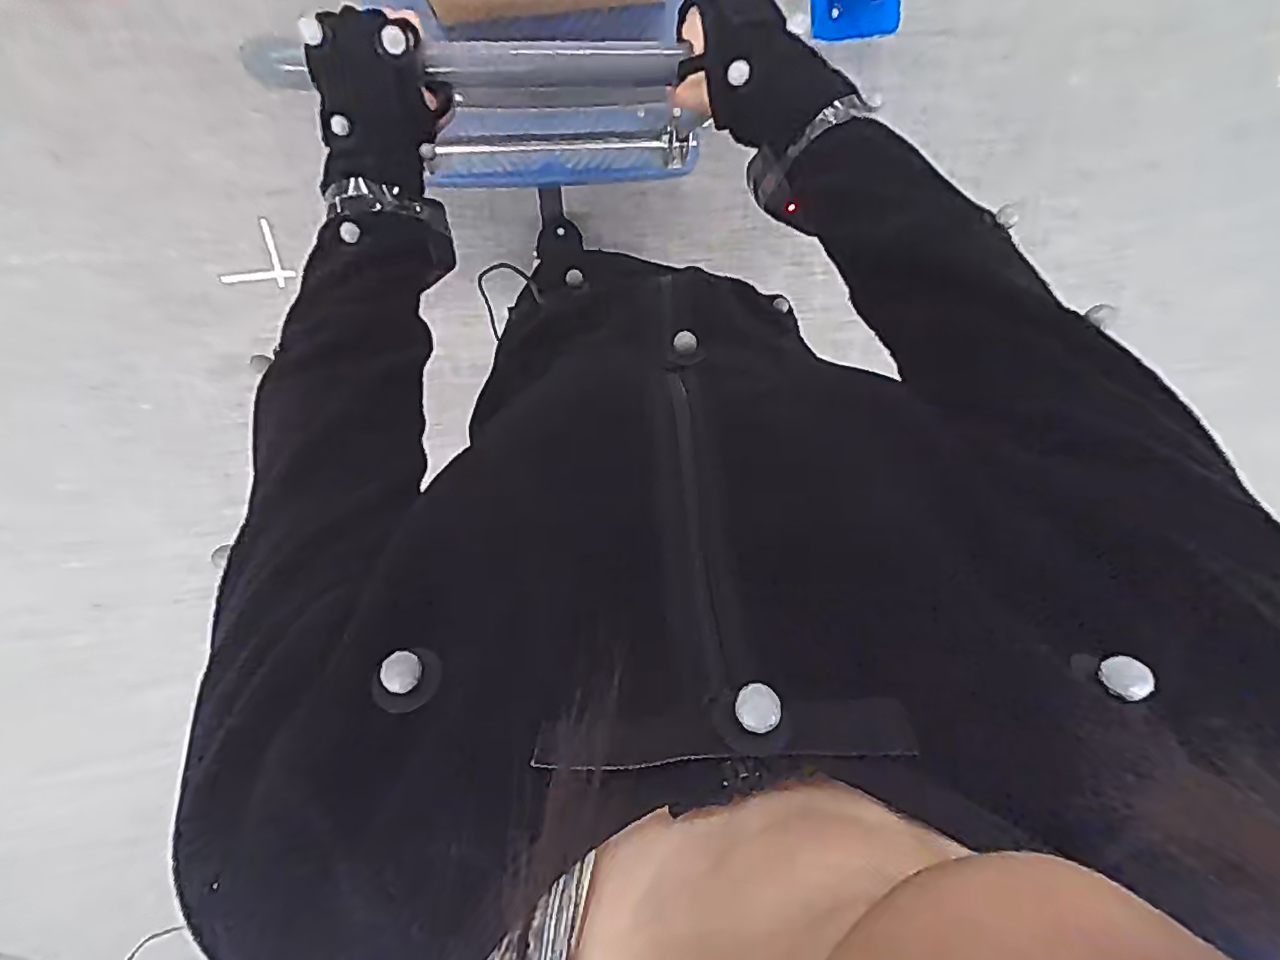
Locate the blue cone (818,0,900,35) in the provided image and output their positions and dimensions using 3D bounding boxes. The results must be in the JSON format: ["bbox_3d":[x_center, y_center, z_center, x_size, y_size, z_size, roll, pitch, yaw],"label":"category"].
[{"bbox_3d":[0.483,-0.999,0.982,0.193,0.380,0.192,-10,111,-5],"label":"blue cone"}]
